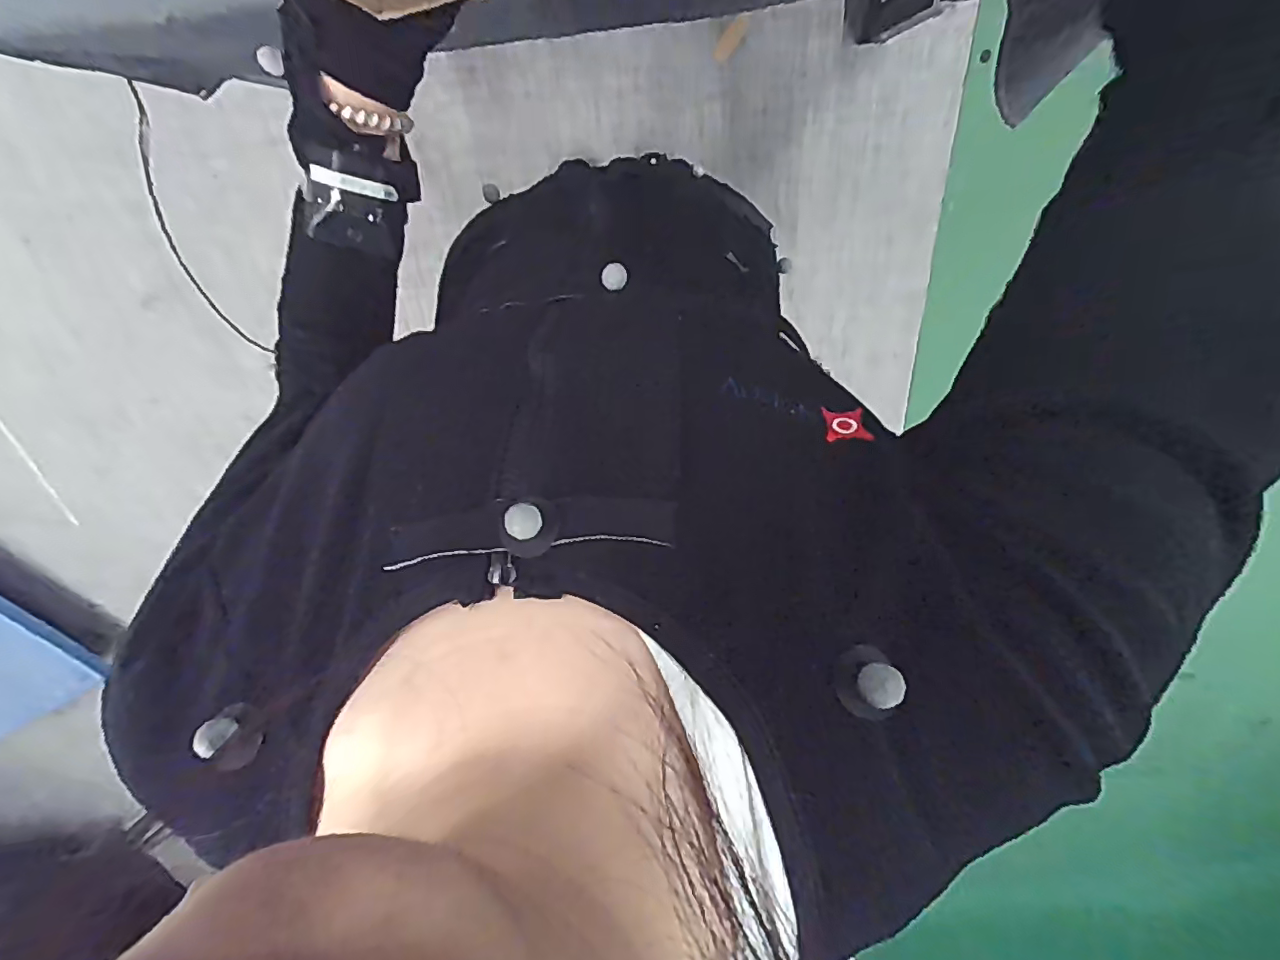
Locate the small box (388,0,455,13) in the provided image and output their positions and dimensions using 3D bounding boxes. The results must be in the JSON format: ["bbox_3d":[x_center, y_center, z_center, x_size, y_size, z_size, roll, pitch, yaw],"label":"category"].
[{"bbox_3d":[-0.085,-0.323,0.214,0.168,0.176,0.179,-14,127,1],"label":"small box"}]
